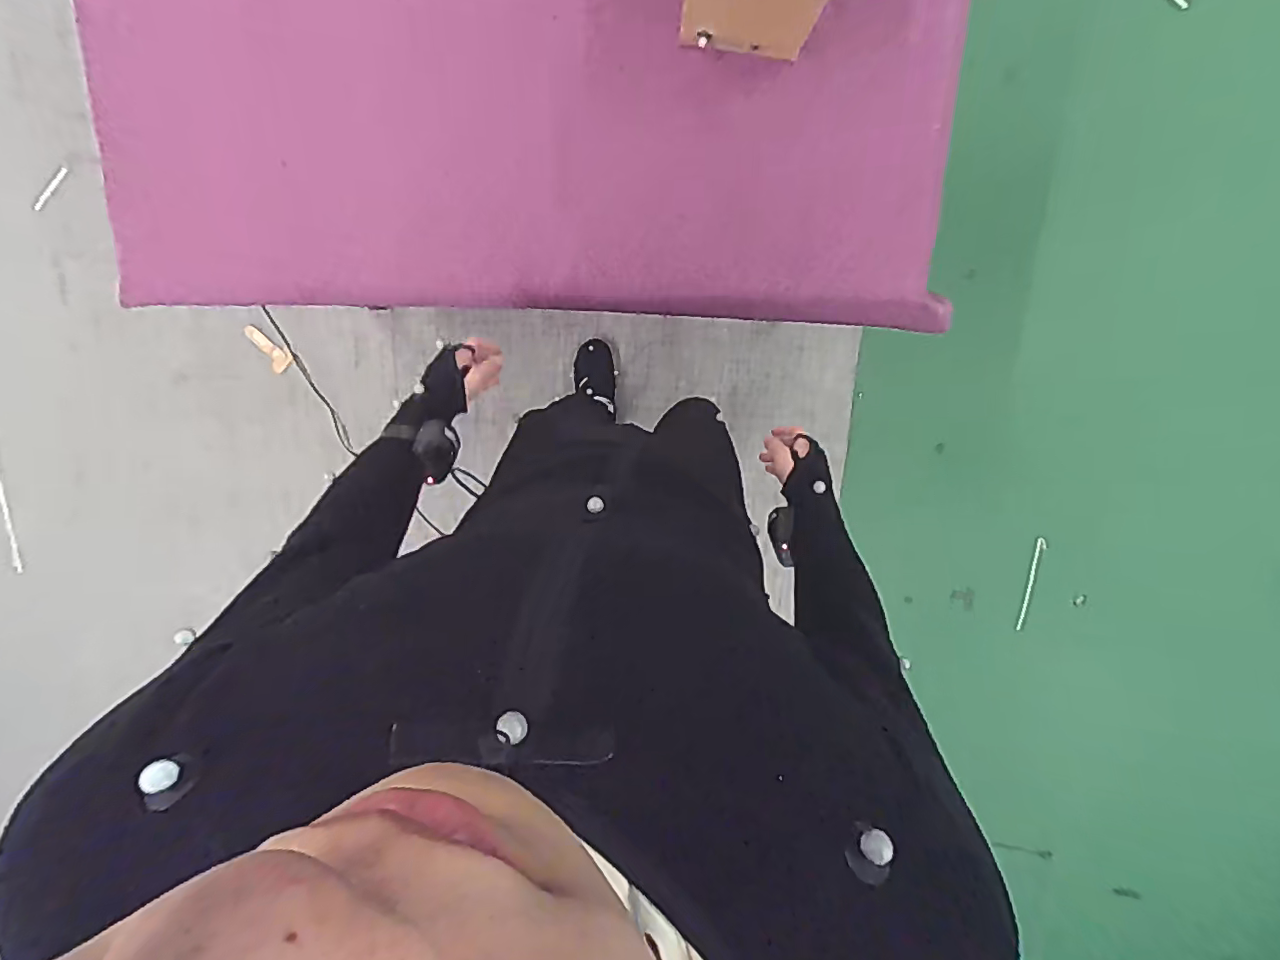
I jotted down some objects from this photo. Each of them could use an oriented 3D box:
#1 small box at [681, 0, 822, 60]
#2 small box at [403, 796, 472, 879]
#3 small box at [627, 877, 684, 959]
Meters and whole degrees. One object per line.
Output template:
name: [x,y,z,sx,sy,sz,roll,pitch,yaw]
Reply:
small box: [0.146,-0.653,0.651,0.168,0.176,0.179,8,102,-3]
small box: [-0.665,1.183,1.798,0.179,0.176,0.168,2,103,-1]
small box: [0.048,1.531,1.891,0.179,0.176,0.168,5,103,-3]
